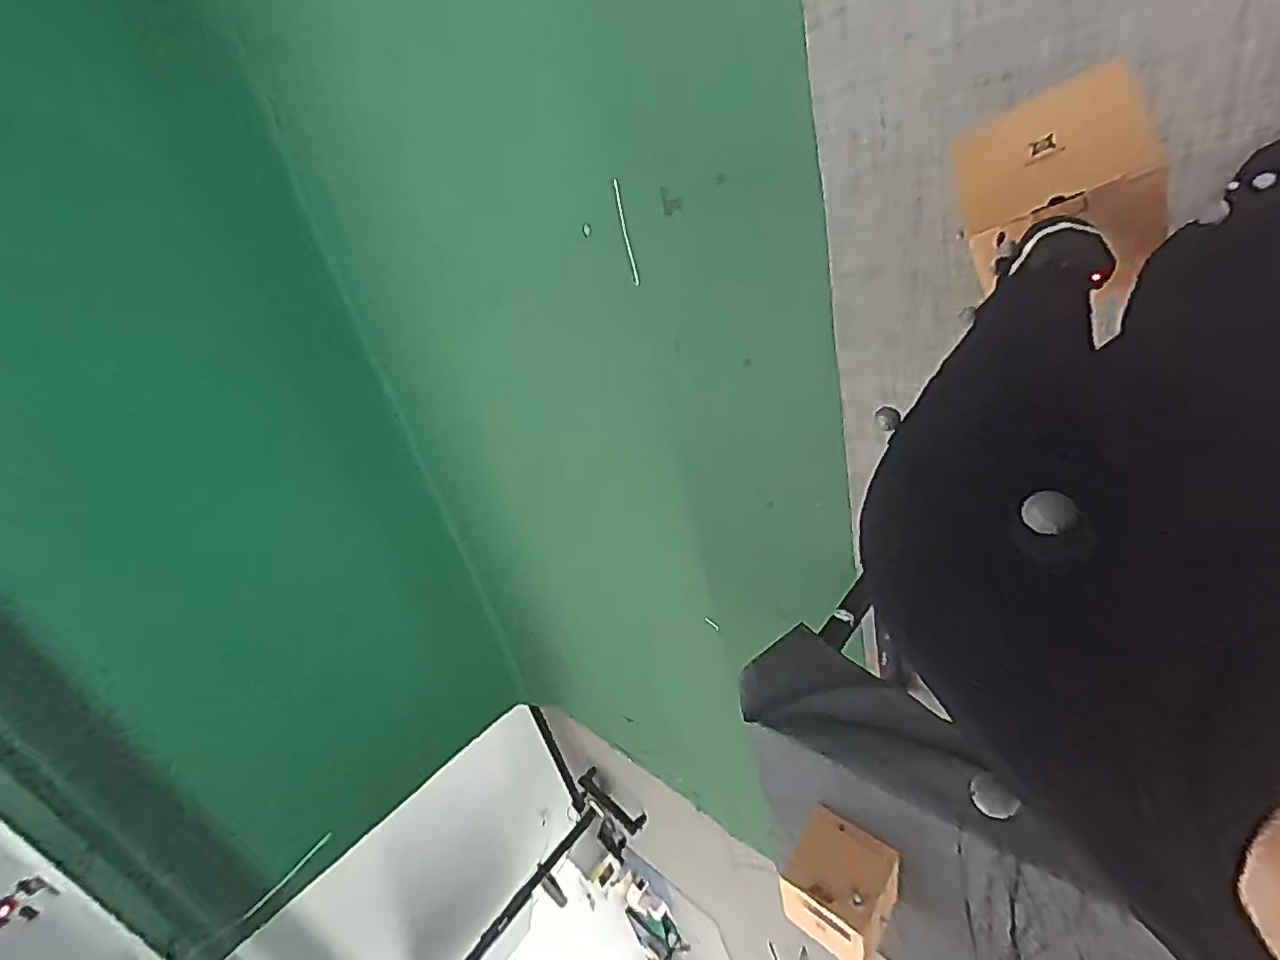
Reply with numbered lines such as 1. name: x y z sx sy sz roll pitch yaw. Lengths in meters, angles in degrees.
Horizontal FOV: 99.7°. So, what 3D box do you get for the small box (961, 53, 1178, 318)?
1. small box: 0.491 -0.327 0.633 0.168 0.179 0.176 -12 149 38
